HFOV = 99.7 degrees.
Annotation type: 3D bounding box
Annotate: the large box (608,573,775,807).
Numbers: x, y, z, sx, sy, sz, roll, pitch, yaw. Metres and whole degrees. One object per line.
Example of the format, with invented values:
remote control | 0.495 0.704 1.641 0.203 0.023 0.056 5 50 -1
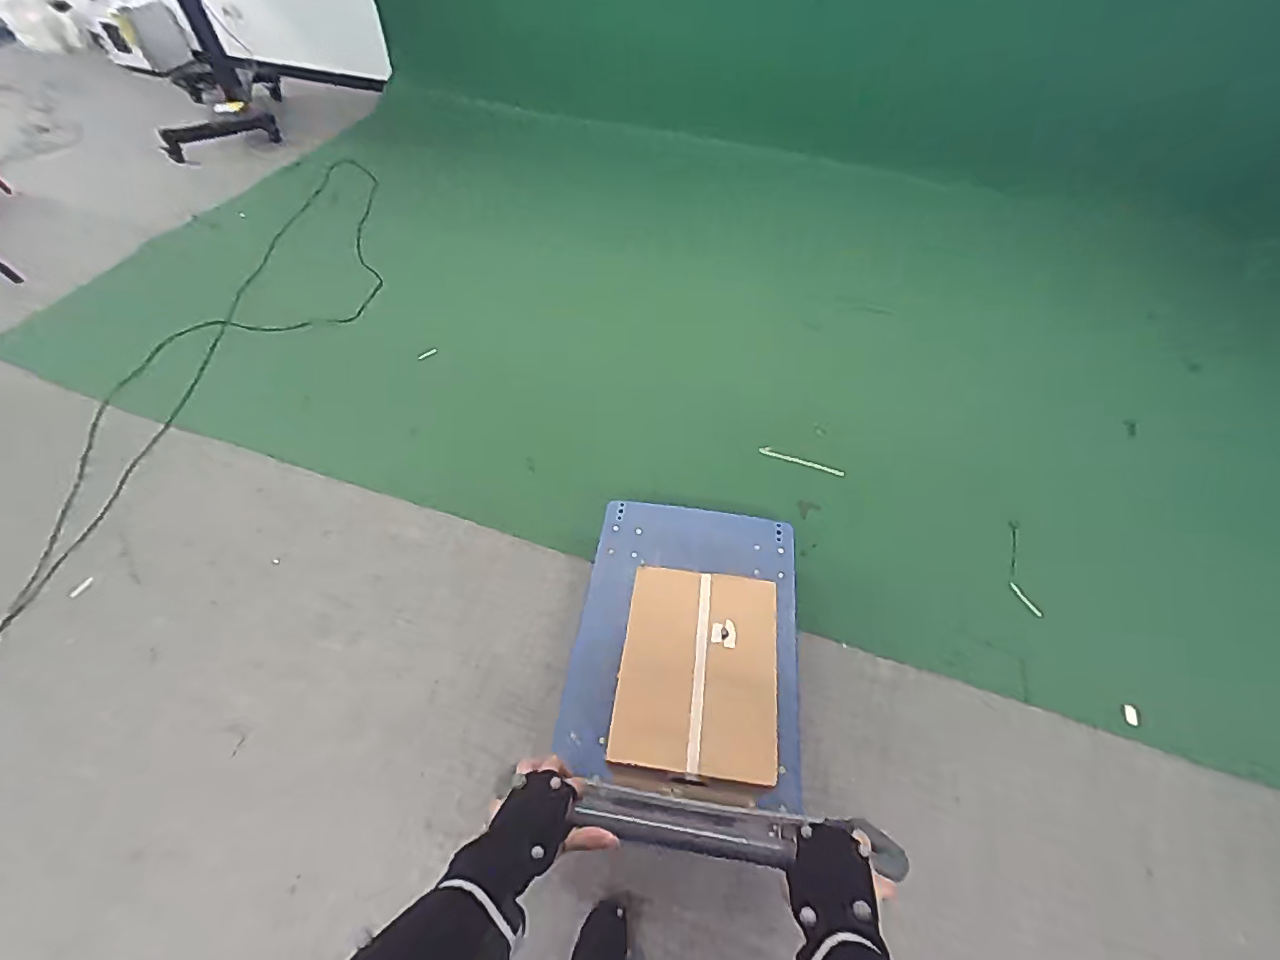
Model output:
large box | 0.117 0.474 1.220 0.320 0.320 0.408 7 53 4
